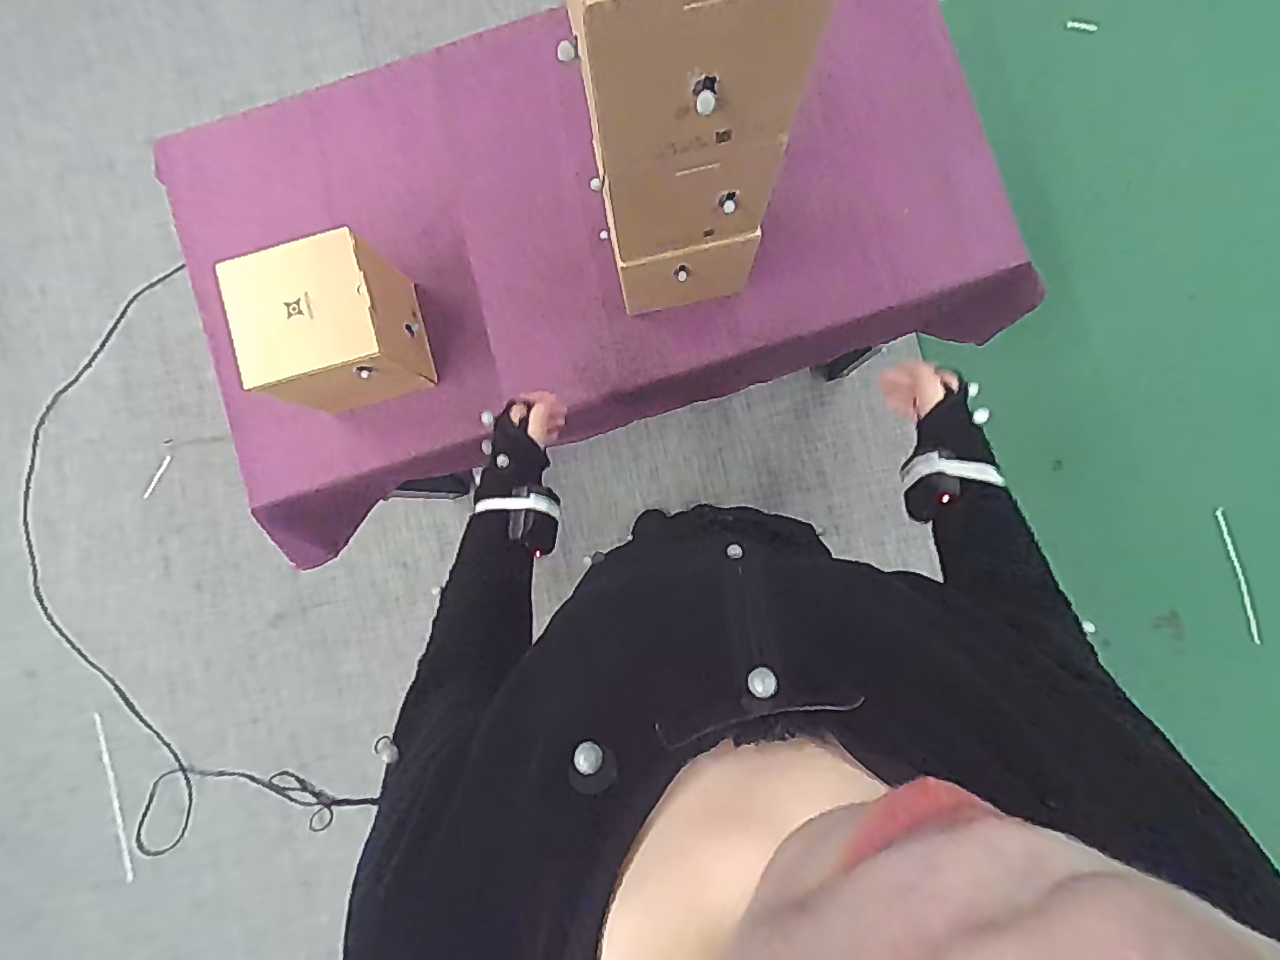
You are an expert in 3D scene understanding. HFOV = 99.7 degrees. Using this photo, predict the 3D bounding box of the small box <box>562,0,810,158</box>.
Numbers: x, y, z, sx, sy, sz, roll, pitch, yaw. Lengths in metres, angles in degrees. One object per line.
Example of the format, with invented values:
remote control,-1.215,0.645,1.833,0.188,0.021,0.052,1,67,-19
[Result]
small box,0.023,-0.374,0.401,0.168,0.176,0.179,-12,87,2

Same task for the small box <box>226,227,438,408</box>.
small box,-0.411,-0.210,0.746,0.179,0.176,0.168,-16,86,2

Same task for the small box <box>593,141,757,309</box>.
small box,0.046,-0.348,0.726,0.179,0.176,0.168,-11,87,3

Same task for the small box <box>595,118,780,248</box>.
small box,0.035,-0.365,0.564,0.168,0.176,0.179,-11,86,2
